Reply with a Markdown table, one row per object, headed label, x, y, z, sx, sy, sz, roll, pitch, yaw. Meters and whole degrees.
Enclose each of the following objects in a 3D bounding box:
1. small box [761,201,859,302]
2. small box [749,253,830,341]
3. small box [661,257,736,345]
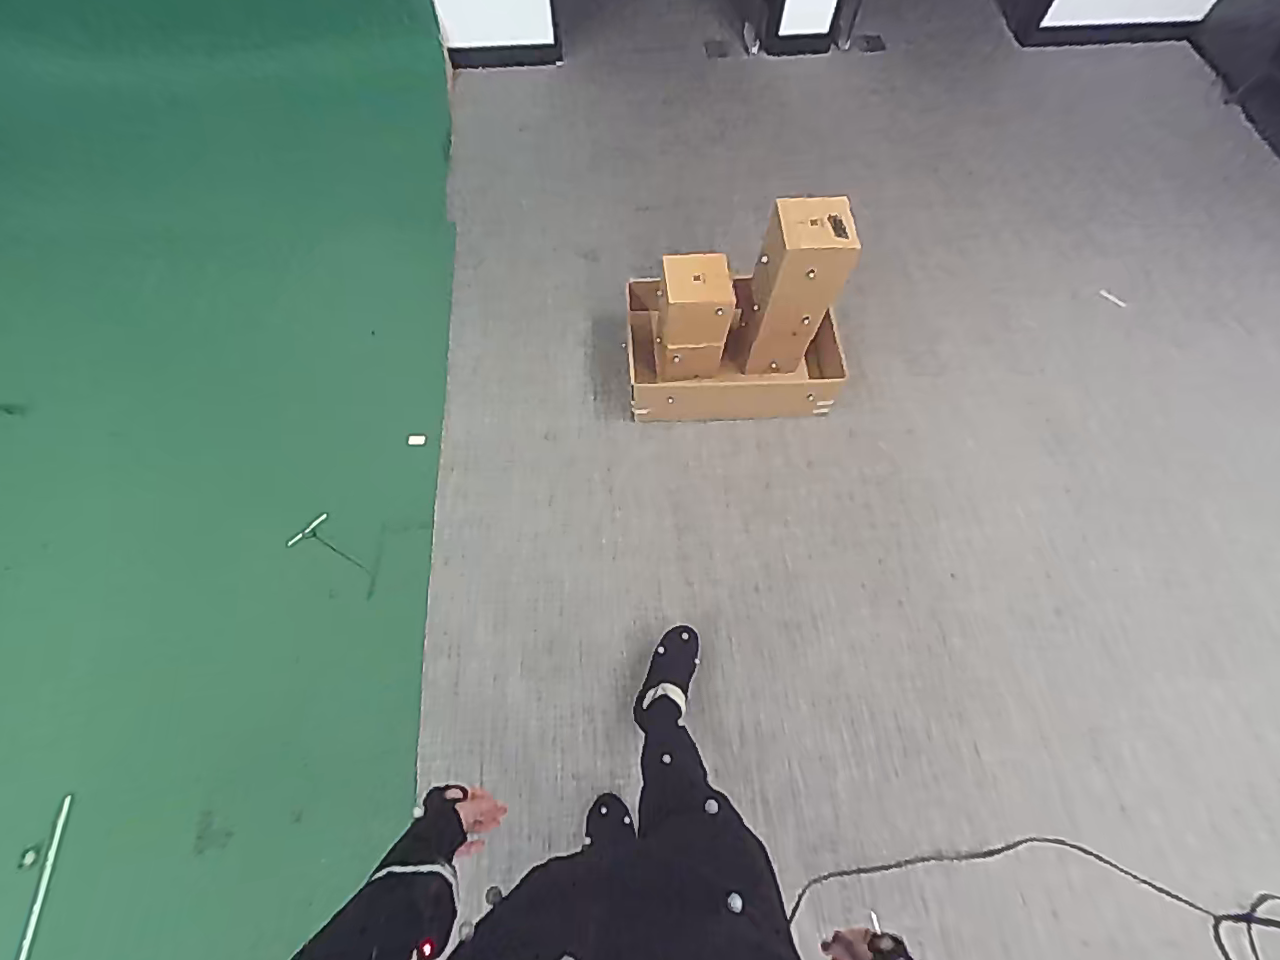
| label | x | y | z | sx | sy | sz | roll | pitch | yaw |
| --- | --- | --- | --- | --- | --- | --- | --- | --- | --- |
| small box | 0.412 | -0.561 | 1.340 | 0.179 | 0.176 | 0.168 | -2 | 66 | -1 |
| small box | 0.404 | -0.500 | 1.491 | 0.168 | 0.176 | 0.179 | -2 | 66 | -2 |
| small box | 0.150 | -0.485 | 1.480 | 0.179 | 0.176 | 0.168 | -4 | 66 | -5 |
